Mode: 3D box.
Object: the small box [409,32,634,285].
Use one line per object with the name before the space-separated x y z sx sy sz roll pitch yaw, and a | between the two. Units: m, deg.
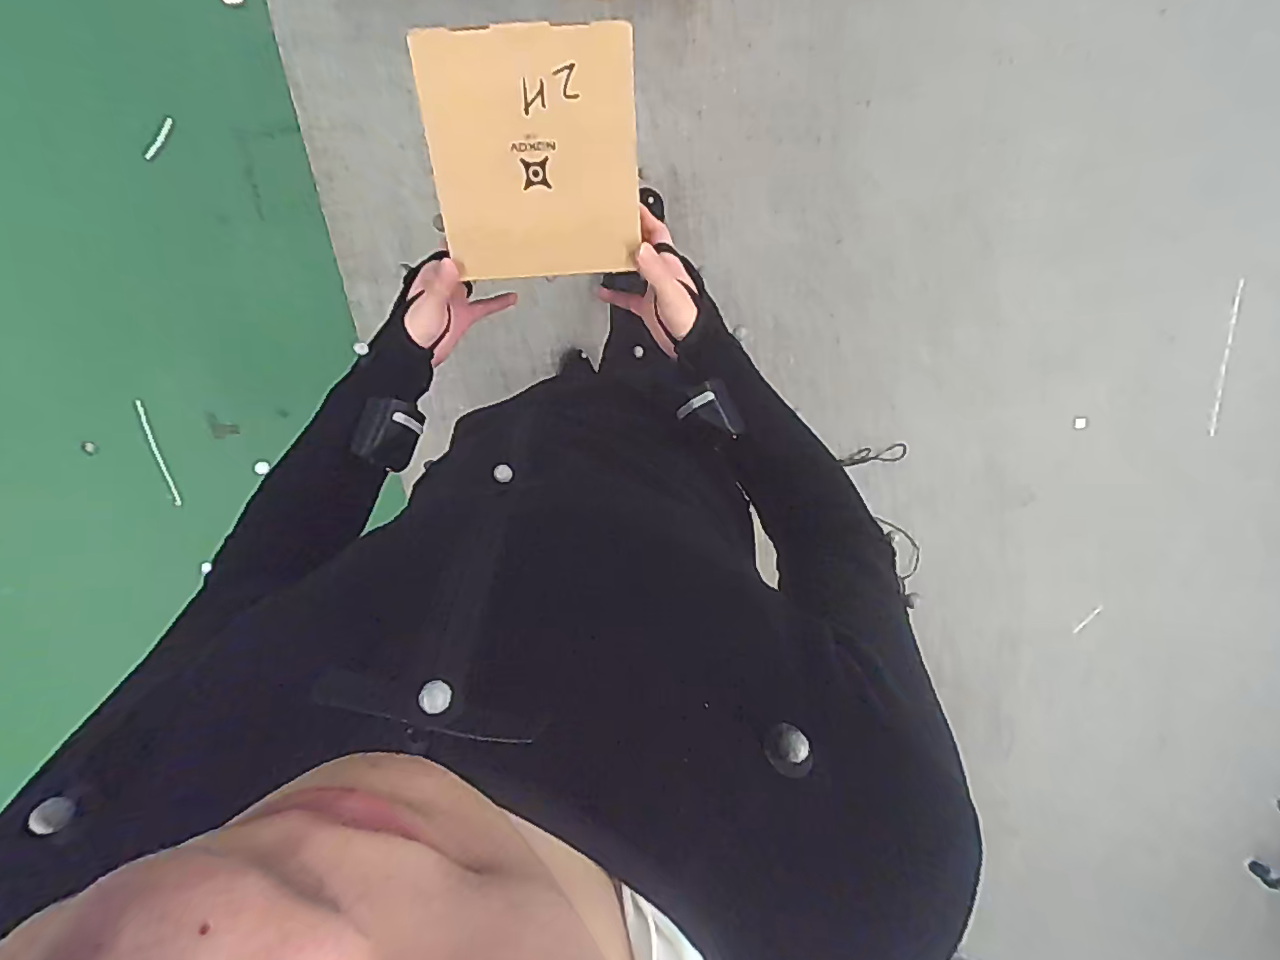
small box | -0.093 -0.289 0.510 0.168 0.176 0.179 -4 116 -4
